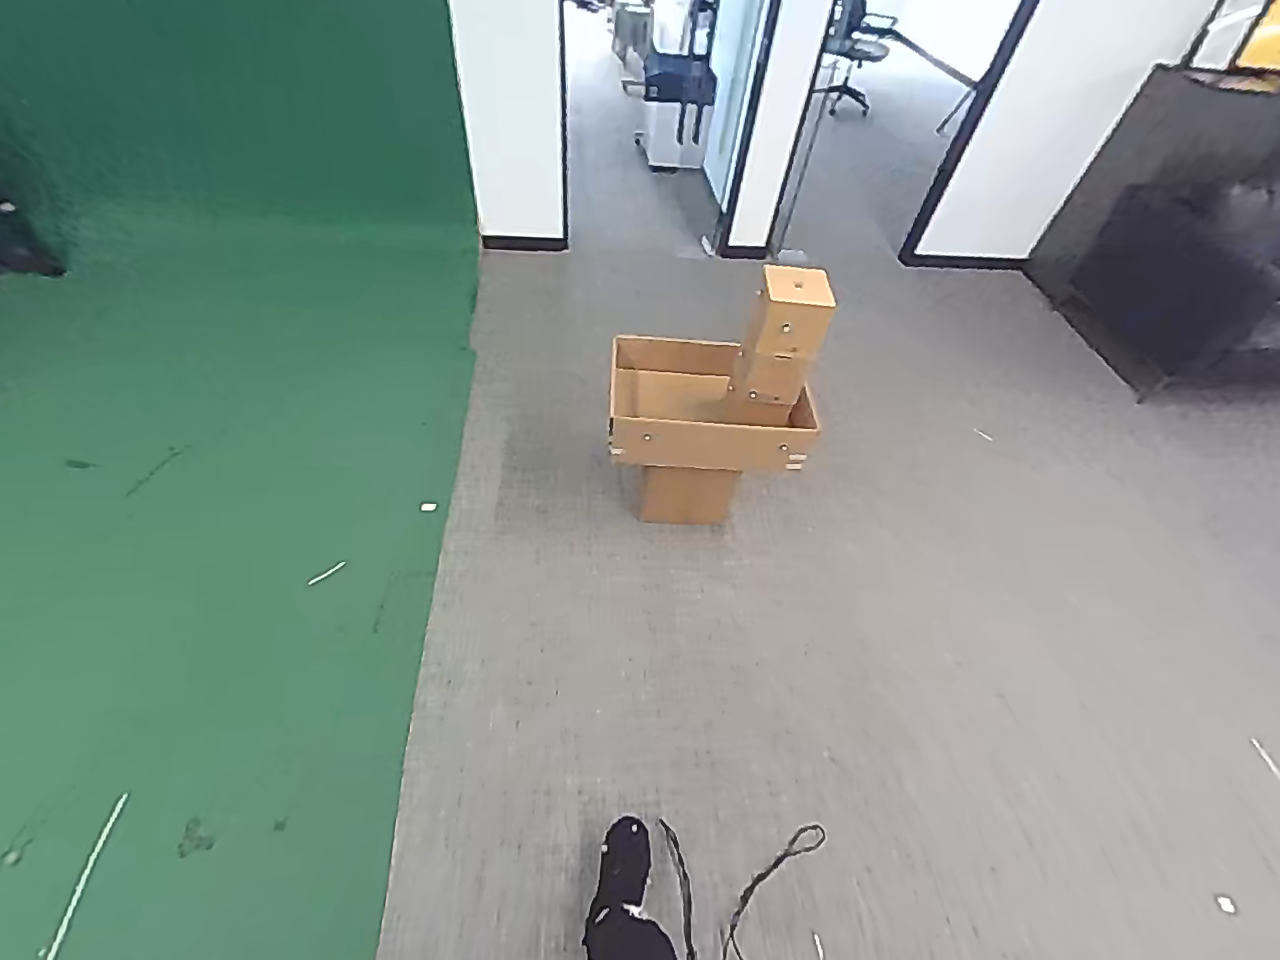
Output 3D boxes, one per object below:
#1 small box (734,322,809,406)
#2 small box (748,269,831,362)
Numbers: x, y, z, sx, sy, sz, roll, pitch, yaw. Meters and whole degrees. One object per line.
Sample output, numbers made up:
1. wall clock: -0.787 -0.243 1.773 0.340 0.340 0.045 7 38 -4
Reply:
1. small box: 0.374 -0.333 1.567 0.168 0.176 0.179 5 49 -2
2. small box: 0.391 -0.436 1.443 0.168 0.176 0.179 5 49 -2
